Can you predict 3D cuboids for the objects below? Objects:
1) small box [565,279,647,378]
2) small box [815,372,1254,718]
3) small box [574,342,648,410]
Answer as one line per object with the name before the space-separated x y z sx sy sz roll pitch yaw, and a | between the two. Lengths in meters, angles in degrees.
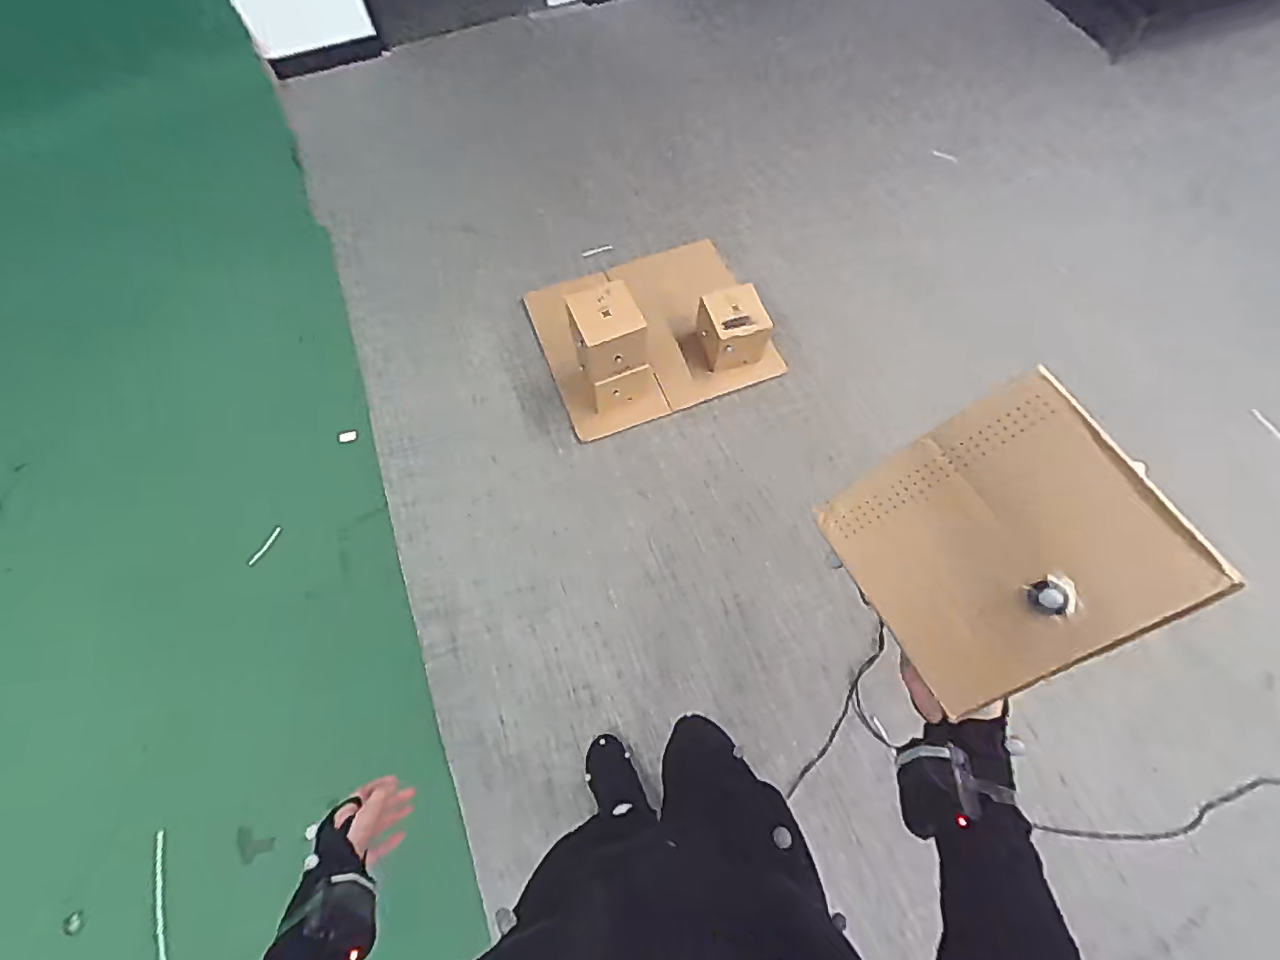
small box | -0.087 -0.397 1.454 0.168 0.176 0.179 -21 68 -9
small box | 0.265 0.046 0.415 0.179 0.168 0.176 -36 69 19
small box | -0.082 -0.327 1.603 0.168 0.176 0.179 -22 68 -9
